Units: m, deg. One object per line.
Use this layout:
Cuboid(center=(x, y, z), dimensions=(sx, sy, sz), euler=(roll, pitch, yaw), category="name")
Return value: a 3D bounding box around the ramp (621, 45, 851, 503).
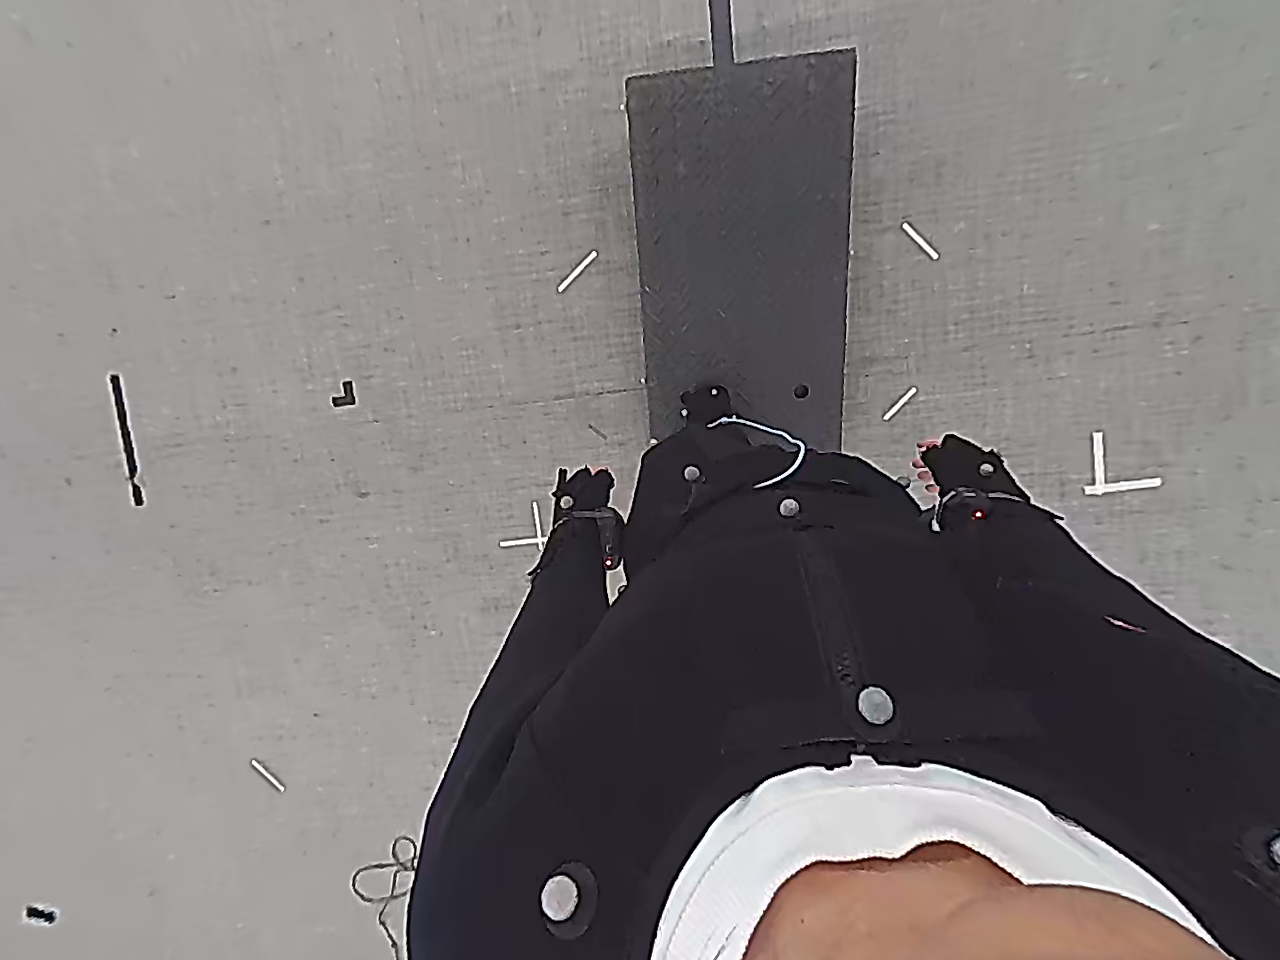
Cuboid(center=(0.242, -0.421, 1.308), dimensions=(0.509, 0.206, 0.991), euler=(-5, 98, 6), category="ramp")
